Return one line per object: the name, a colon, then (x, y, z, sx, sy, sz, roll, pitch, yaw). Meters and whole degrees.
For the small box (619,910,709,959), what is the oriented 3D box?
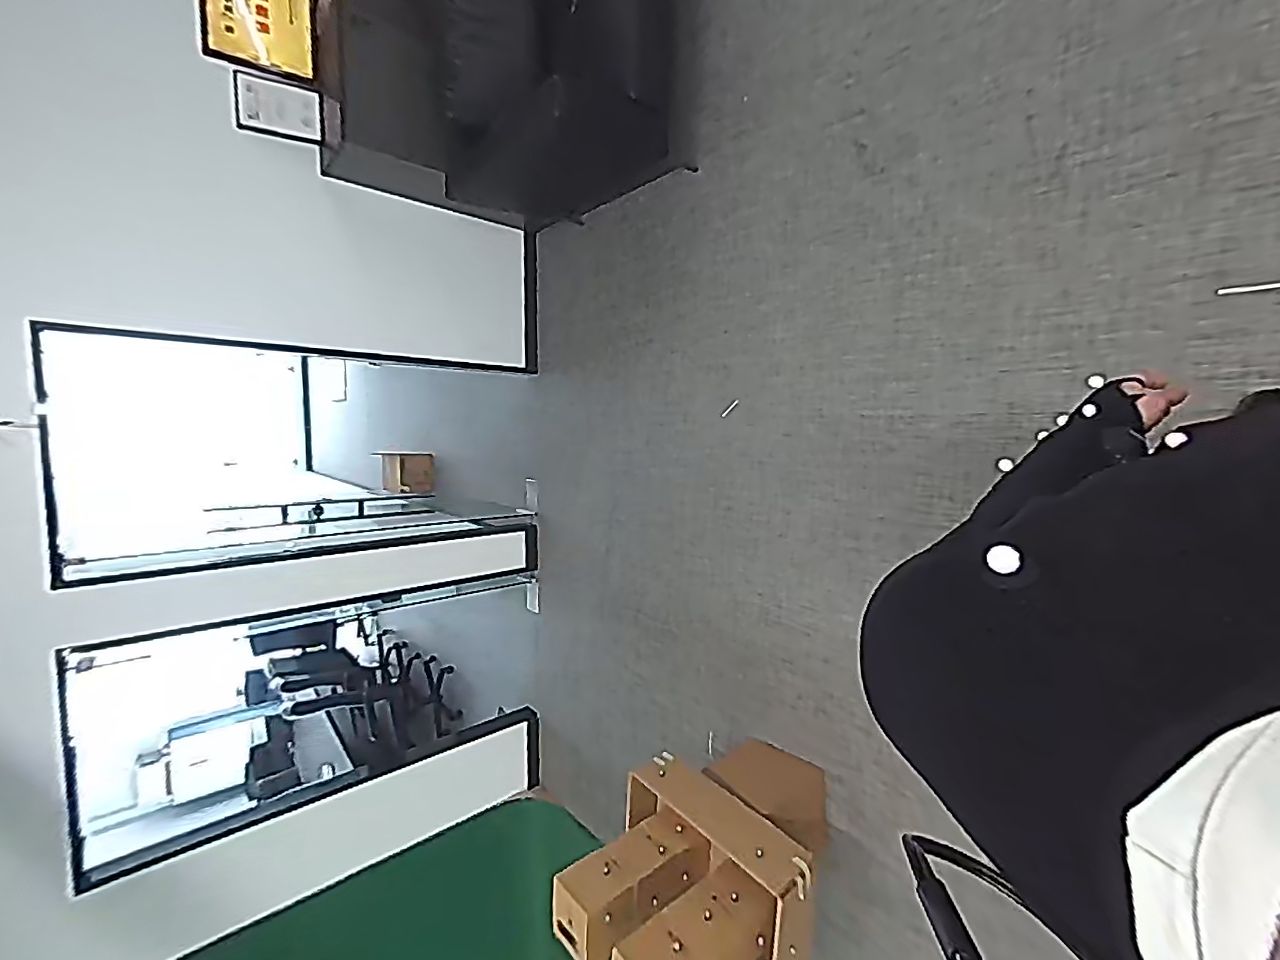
small box: (0.059, 1.247, 1.351, 0.168, 0.176, 0.179, 16, 105, 47)

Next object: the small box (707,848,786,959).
small box: (0.305, 1.230, 1.566, 0.168, 0.176, 0.179, 14, 104, 48)

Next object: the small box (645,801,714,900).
small box: (0.129, 1.199, 1.770, 0.168, 0.176, 0.179, 11, 102, 47)

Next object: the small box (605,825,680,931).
small box: (0.009, 1.210, 1.658, 0.168, 0.176, 0.179, 8, 101, 48)

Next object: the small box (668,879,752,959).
small box: (0.184, 1.237, 1.455, 0.168, 0.176, 0.179, 15, 105, 49)
